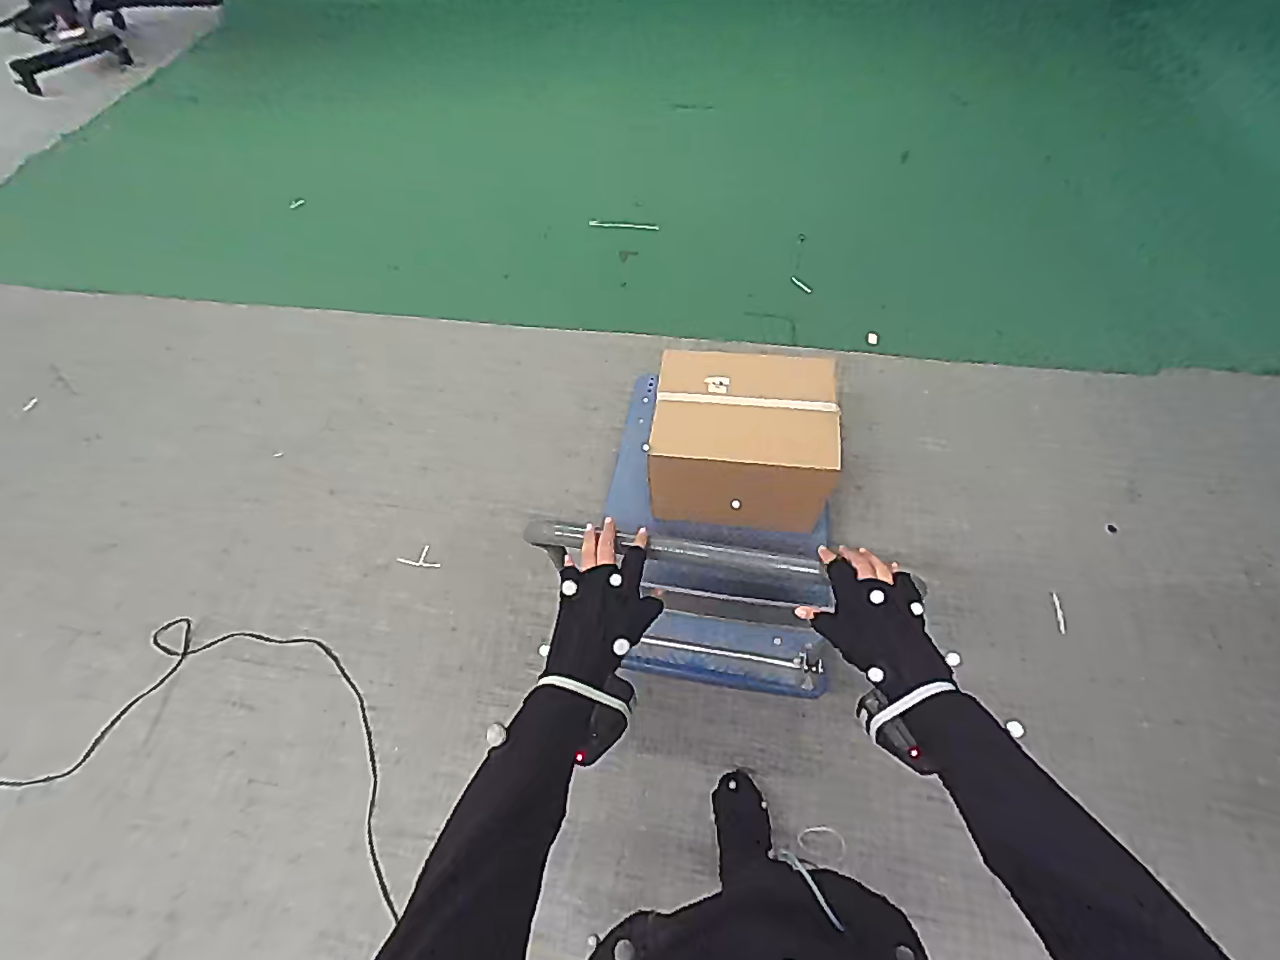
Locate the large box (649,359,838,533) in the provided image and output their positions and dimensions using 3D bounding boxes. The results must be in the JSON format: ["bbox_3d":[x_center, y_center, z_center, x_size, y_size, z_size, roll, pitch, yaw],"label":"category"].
[{"bbox_3d":[0.246,-0.078,1.345,0.408,0.320,0.320,4,58,8],"label":"large box"}]
